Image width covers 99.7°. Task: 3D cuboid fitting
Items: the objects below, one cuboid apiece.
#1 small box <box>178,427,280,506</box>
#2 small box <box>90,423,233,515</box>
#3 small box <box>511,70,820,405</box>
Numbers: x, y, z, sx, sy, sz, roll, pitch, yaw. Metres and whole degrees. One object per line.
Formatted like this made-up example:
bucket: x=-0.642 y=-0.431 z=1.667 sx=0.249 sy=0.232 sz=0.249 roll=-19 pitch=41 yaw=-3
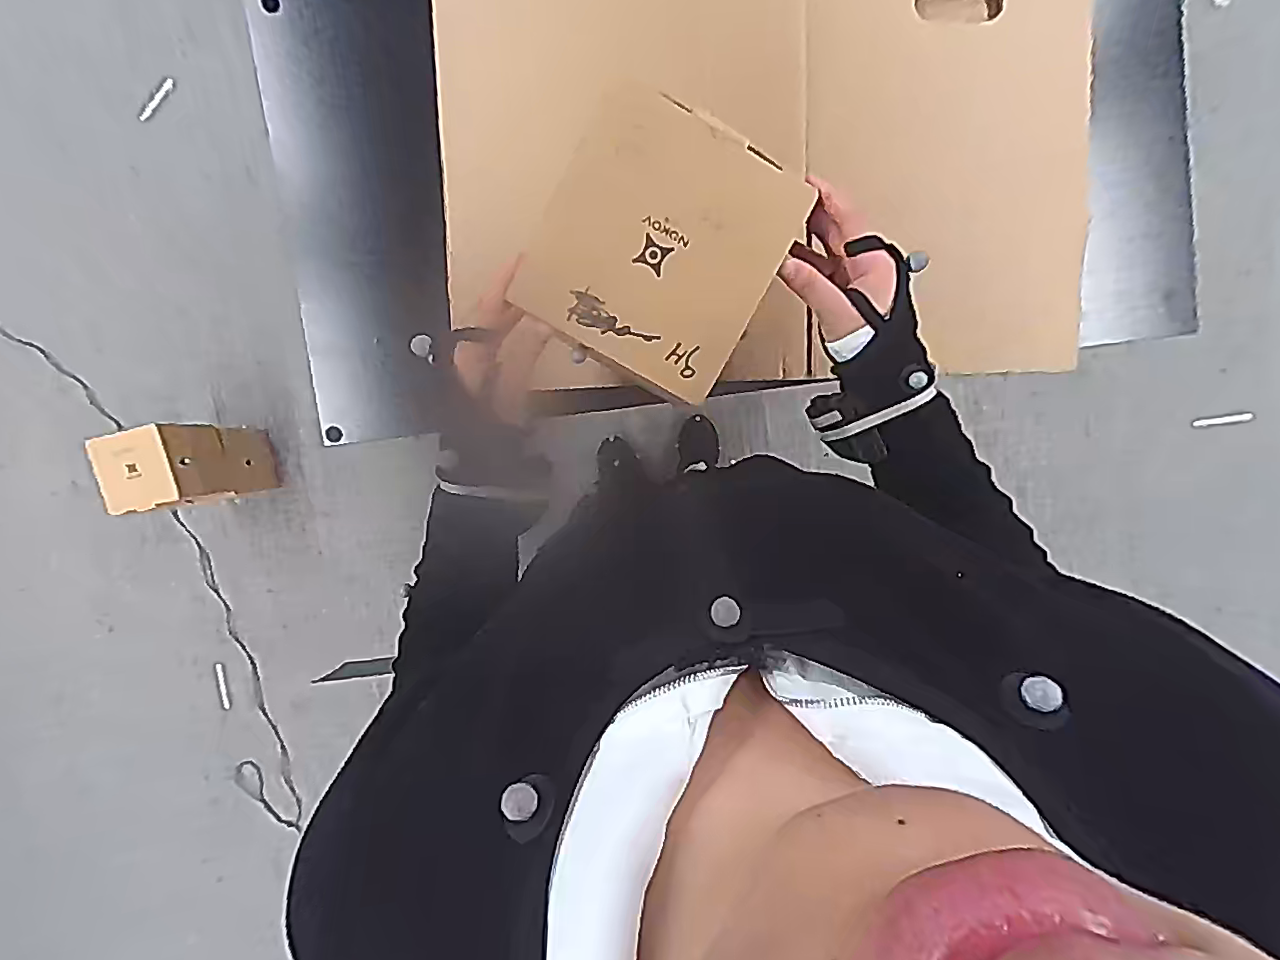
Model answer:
small box: x=-1.100 y=-0.039 z=1.429 sx=0.168 sy=0.176 sz=0.179 roll=-11 pitch=95 yaw=2
small box: x=-1.105 y=-0.031 z=1.267 sx=0.168 sy=0.176 sz=0.179 roll=-14 pitch=93 yaw=1
small box: x=0.017 y=-0.179 z=0.463 sx=0.168 sy=0.176 sz=0.179 roll=29 pitch=95 yaw=-2
